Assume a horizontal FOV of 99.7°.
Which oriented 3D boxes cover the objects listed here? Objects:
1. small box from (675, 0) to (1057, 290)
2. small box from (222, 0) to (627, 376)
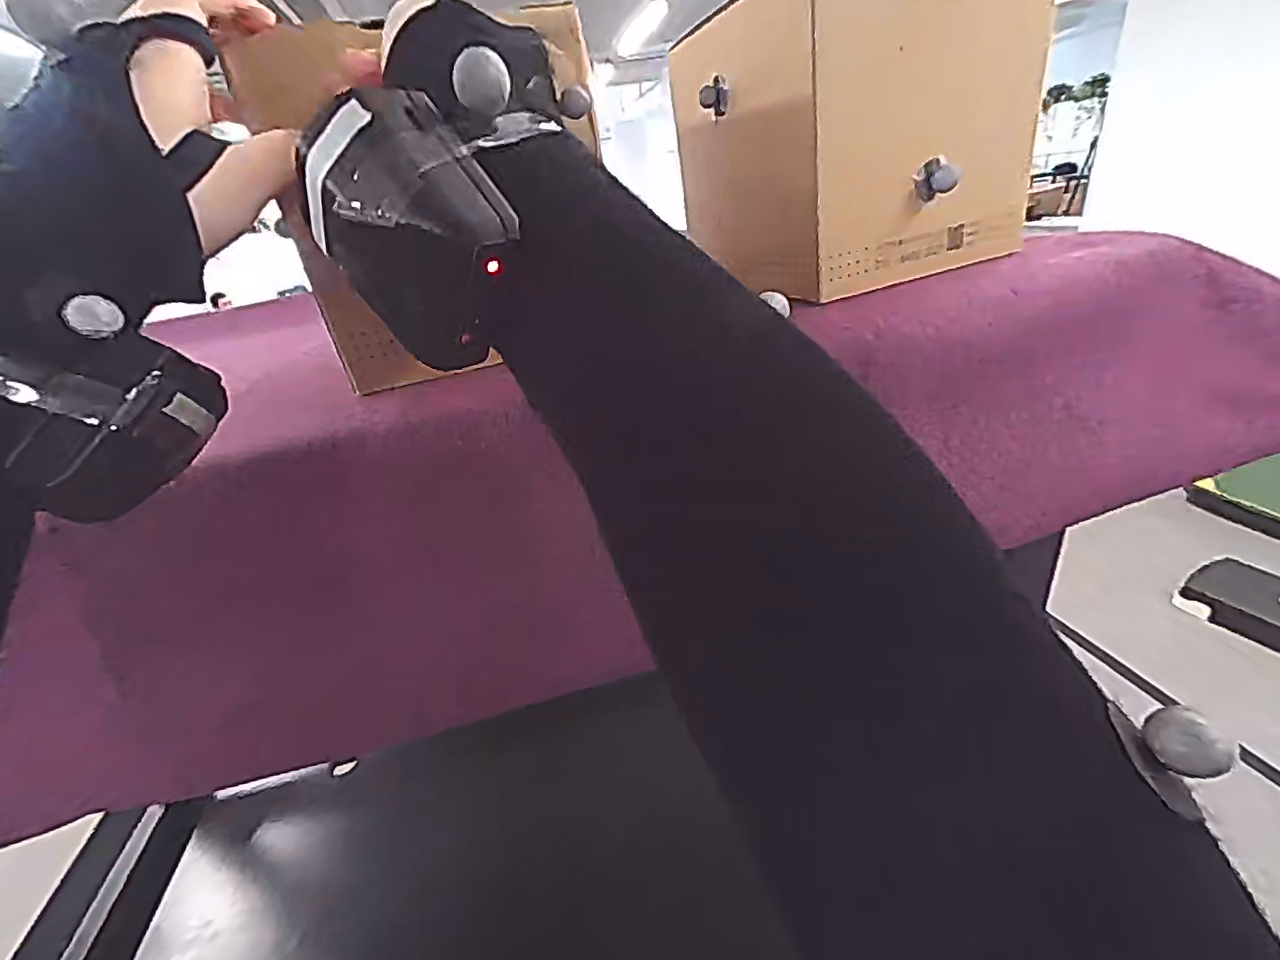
[{"bbox_3d":[0.140,-0.237,0.381,0.168,0.176,0.179,-18,28,-15],"label":"small box"},{"bbox_3d":[-0.116,-0.176,0.354,0.168,0.176,0.179,-16,27,-13],"label":"small box"}]
